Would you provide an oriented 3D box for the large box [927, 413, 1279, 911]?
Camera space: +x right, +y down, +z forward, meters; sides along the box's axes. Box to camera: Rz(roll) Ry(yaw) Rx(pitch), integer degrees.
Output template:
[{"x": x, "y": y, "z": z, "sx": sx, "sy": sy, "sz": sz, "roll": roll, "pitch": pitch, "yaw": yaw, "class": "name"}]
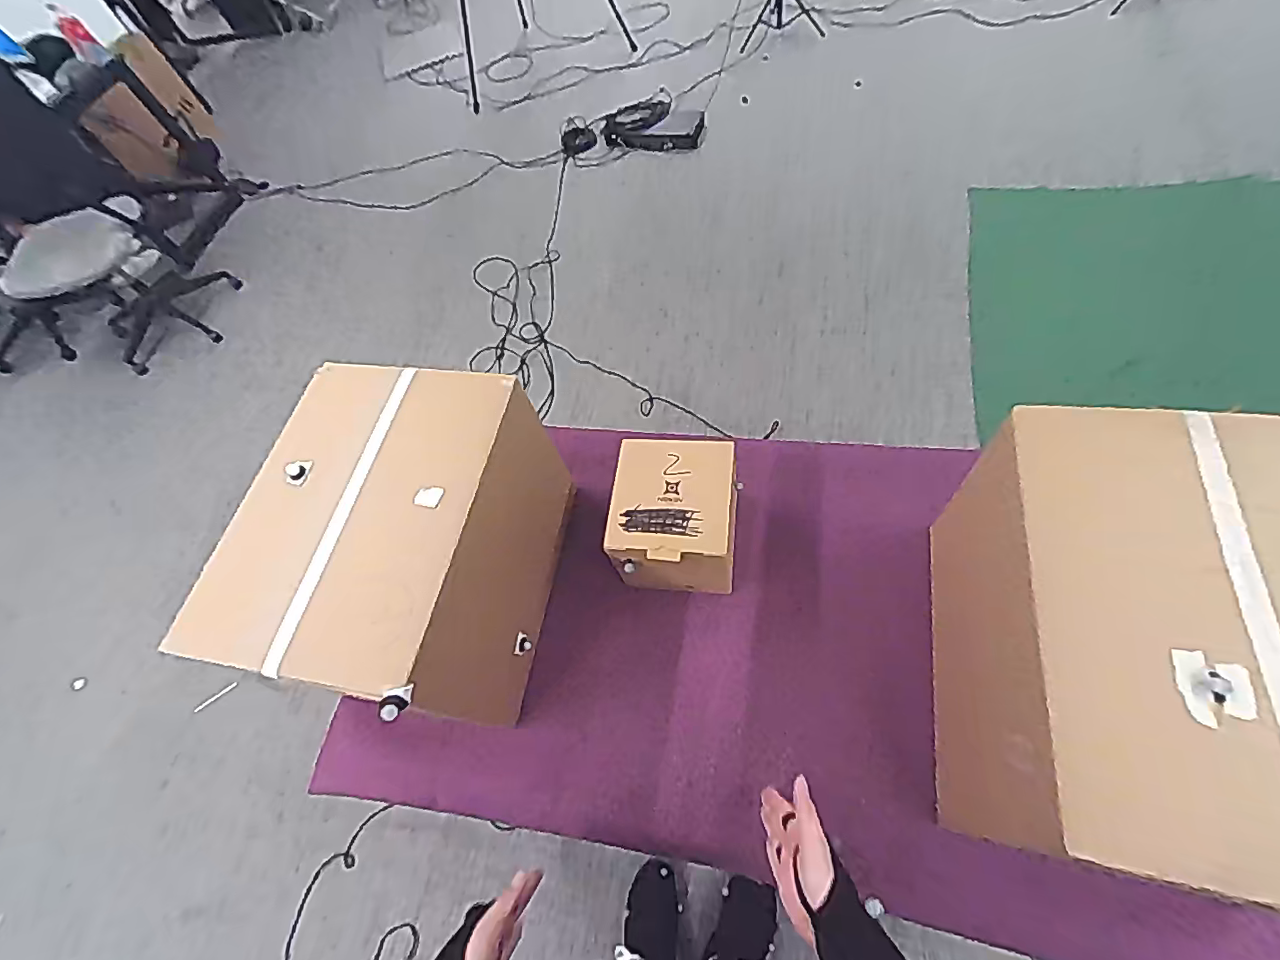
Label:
[{"x": 0.522, "y": 0.185, "z": 0.572, "sx": 0.320, "sy": 0.320, "sz": 0.408, "roll": 5, "pitch": 63, "yaw": 15, "class": "large box"}]
